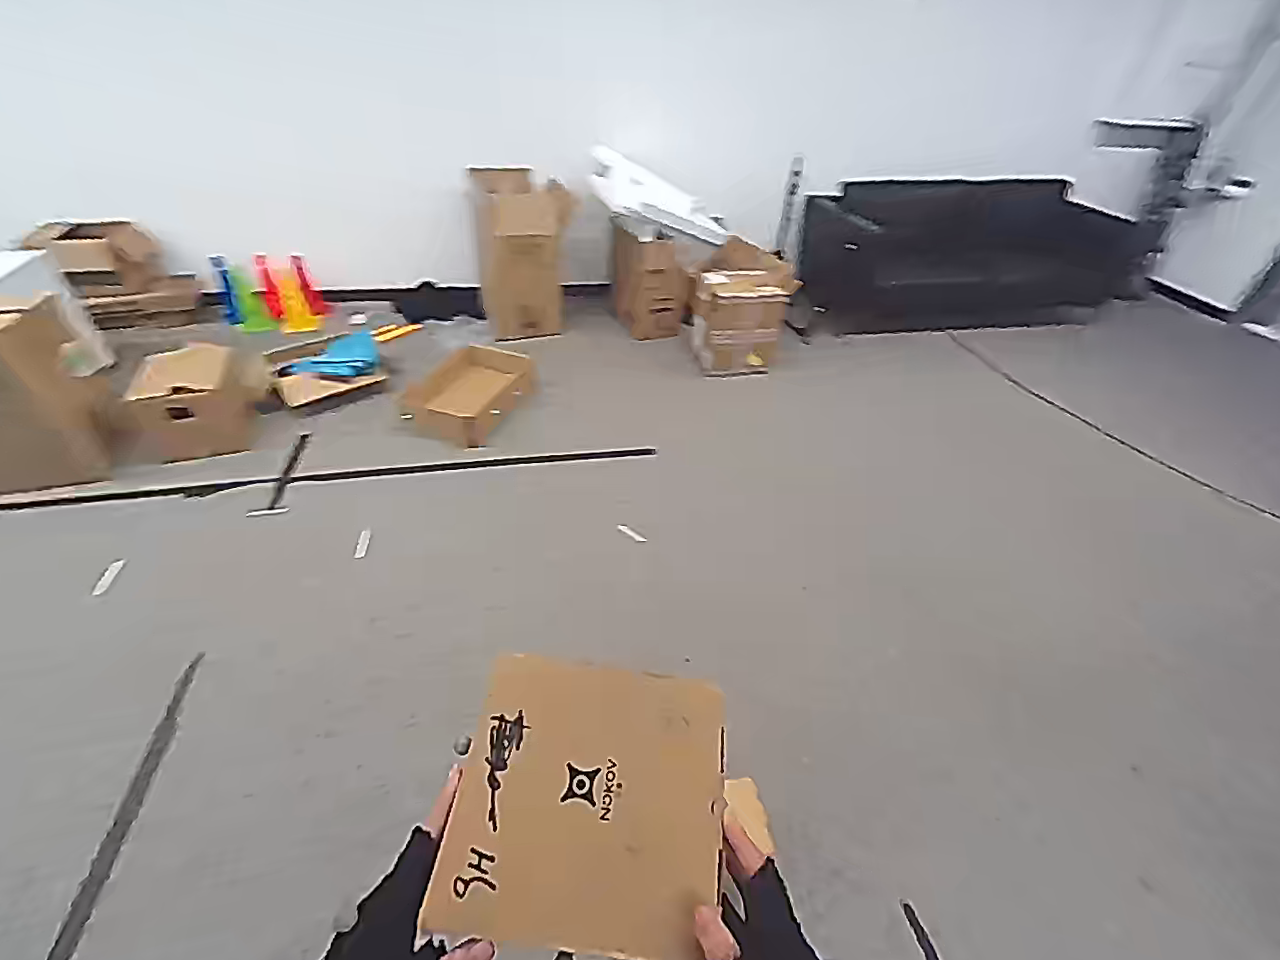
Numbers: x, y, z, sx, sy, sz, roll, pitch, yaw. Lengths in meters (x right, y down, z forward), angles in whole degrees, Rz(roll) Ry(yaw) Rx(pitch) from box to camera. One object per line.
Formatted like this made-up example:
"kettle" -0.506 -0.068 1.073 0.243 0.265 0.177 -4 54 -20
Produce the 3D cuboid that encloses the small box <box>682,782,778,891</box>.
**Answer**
"small box" 0.206 0.853 1.295 0.179 0.176 0.168 -4 39 -8
